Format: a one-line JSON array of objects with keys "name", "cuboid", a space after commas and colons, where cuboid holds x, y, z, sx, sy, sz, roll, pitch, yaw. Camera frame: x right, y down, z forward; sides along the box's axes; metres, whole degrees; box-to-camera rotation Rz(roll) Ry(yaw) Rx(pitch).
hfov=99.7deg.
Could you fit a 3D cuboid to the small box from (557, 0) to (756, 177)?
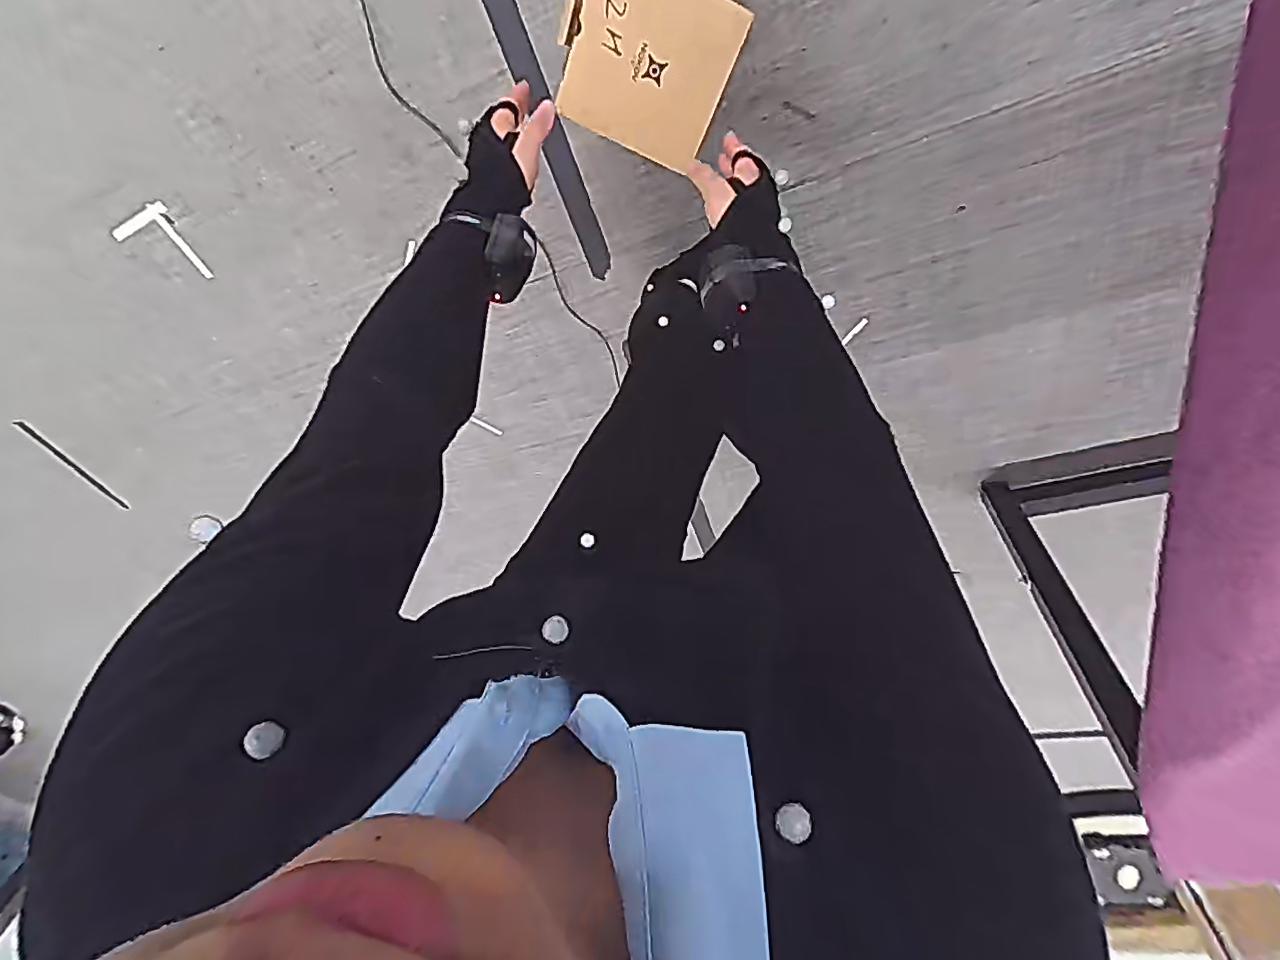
[{"name": "small box", "cuboid": [0.022, -0.505, 0.654, 0.179, 0.176, 0.168, 22, 129, -9]}]
